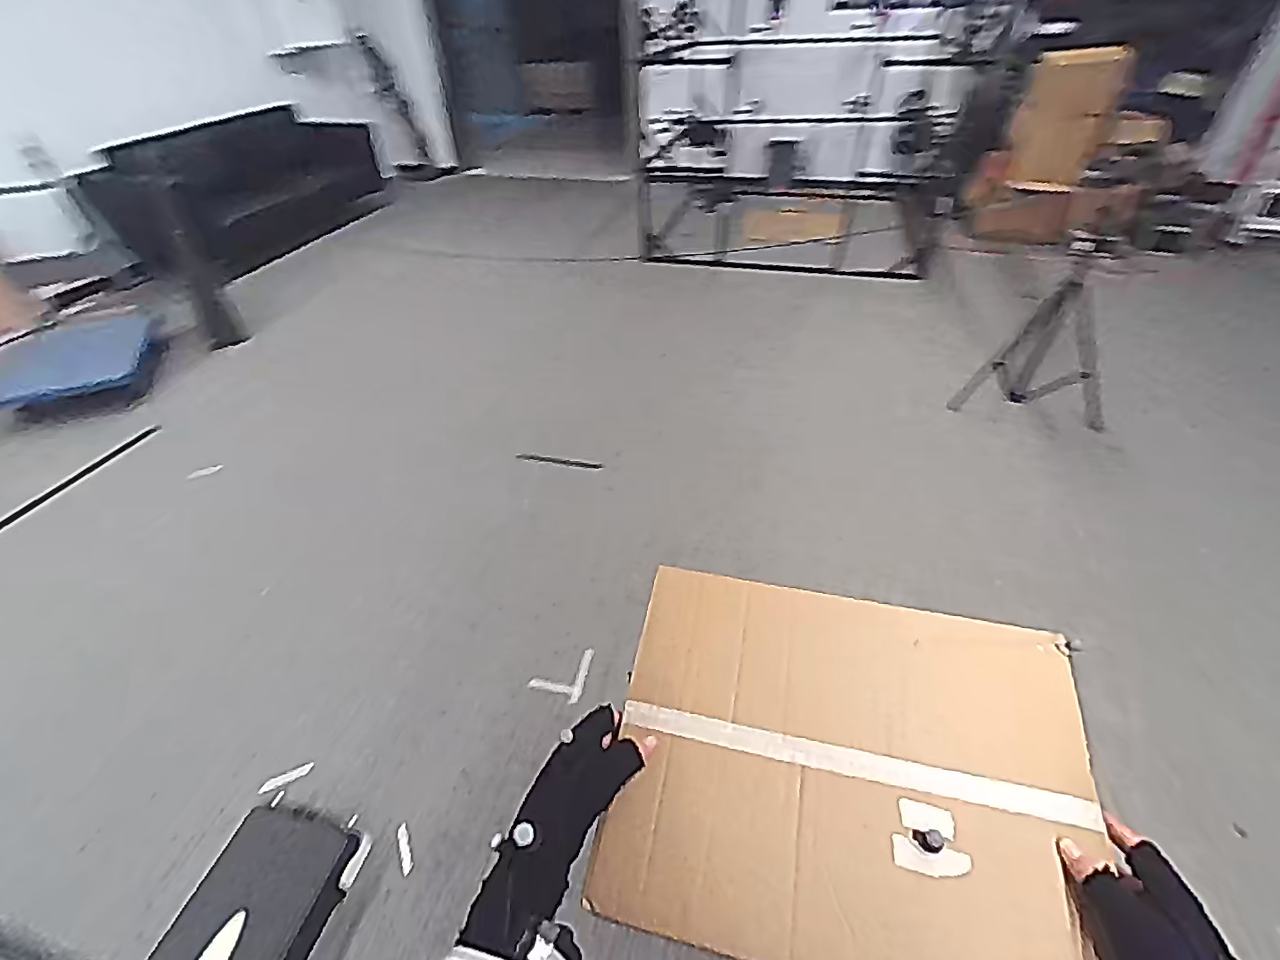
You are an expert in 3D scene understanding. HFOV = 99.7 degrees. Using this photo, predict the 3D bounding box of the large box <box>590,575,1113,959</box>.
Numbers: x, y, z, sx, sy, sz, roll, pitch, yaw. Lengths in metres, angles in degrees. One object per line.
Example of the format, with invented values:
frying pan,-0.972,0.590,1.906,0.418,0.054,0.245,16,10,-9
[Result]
large box,0.187,0.335,0.614,0.408,0.320,0.320,7,57,10
